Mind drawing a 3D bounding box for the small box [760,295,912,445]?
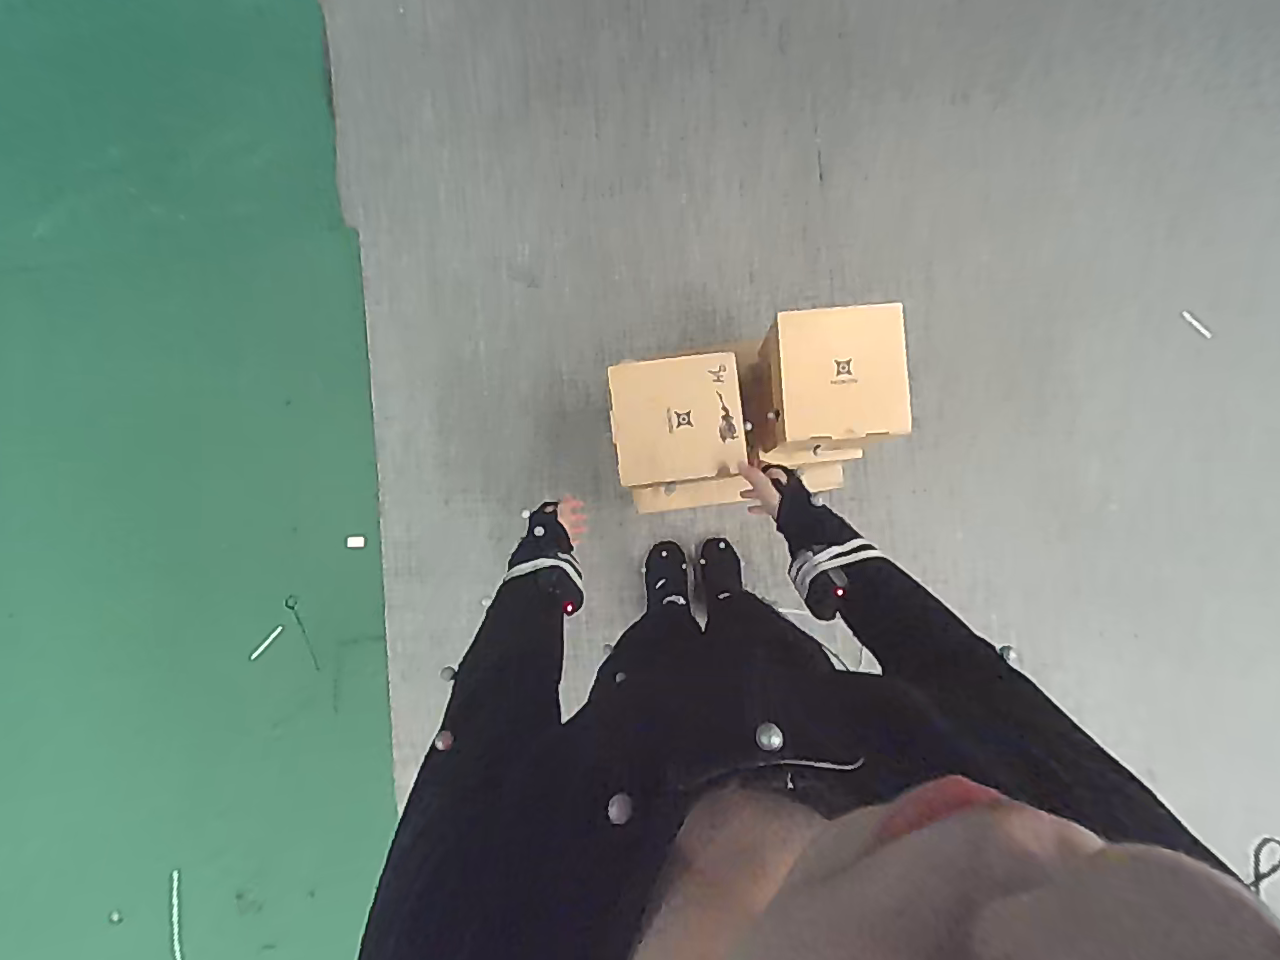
[{"bbox_3d":[0.275,-0.152,0.795,0.168,0.176,0.179,-3,87,3],"label":"small box"}]
